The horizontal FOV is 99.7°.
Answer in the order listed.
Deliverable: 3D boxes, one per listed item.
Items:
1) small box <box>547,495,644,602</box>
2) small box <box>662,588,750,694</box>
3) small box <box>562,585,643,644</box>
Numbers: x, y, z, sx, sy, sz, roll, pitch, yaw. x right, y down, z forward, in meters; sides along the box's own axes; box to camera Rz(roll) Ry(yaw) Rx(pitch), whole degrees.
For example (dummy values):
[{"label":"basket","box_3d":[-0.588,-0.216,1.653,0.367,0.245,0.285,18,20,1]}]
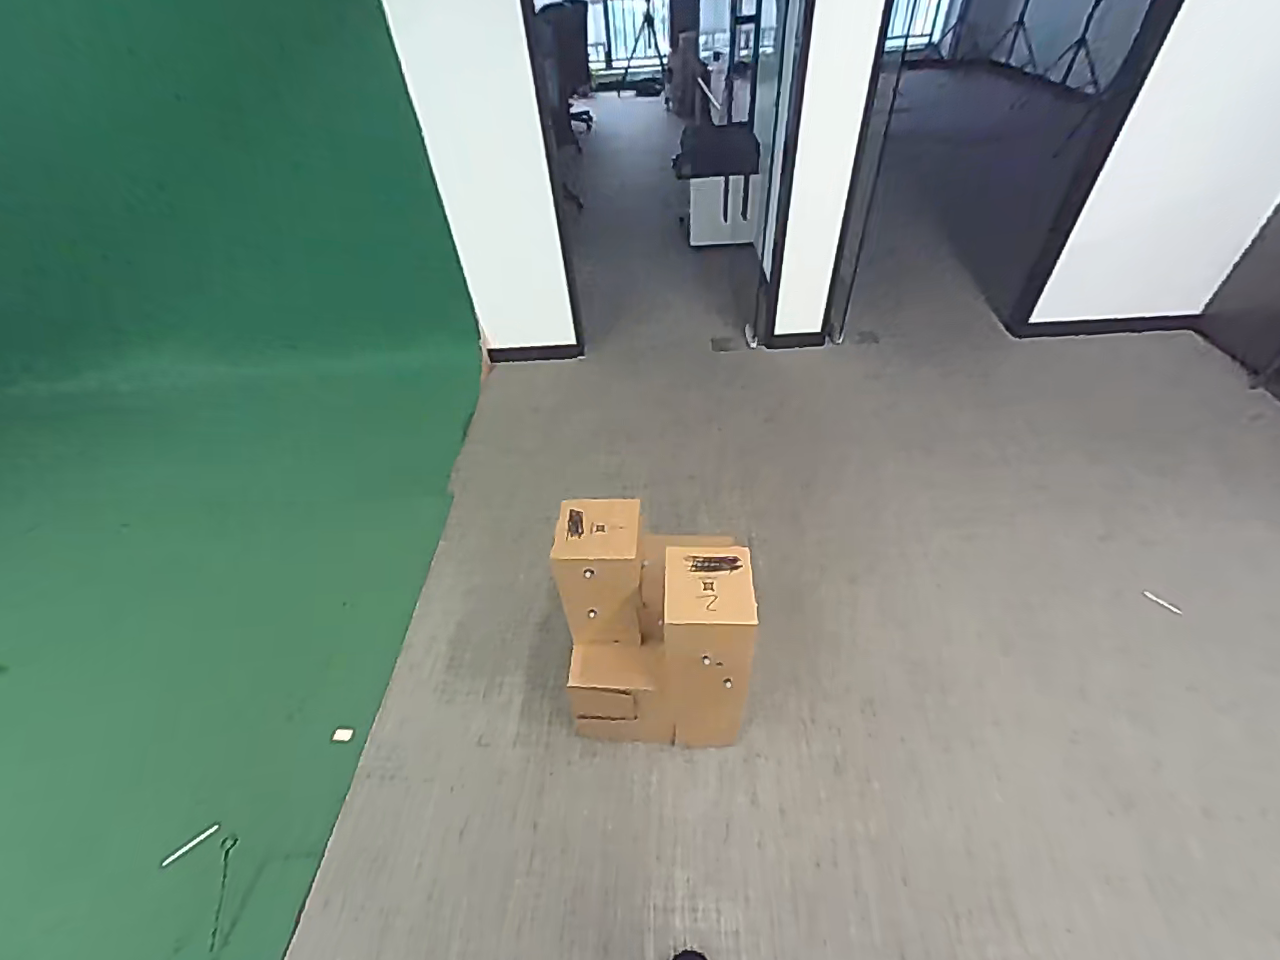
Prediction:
[{"label":"small box","box_3d":[-0.088,0.152,1.173,0.179,0.176,0.168,-2,44,5]},{"label":"small box","box_3d":[0.138,0.354,1.183,0.179,0.176,0.168,-2,44,3]},{"label":"small box","box_3d":[-0.082,0.268,1.292,0.168,0.176,0.179,-1,43,5]}]
